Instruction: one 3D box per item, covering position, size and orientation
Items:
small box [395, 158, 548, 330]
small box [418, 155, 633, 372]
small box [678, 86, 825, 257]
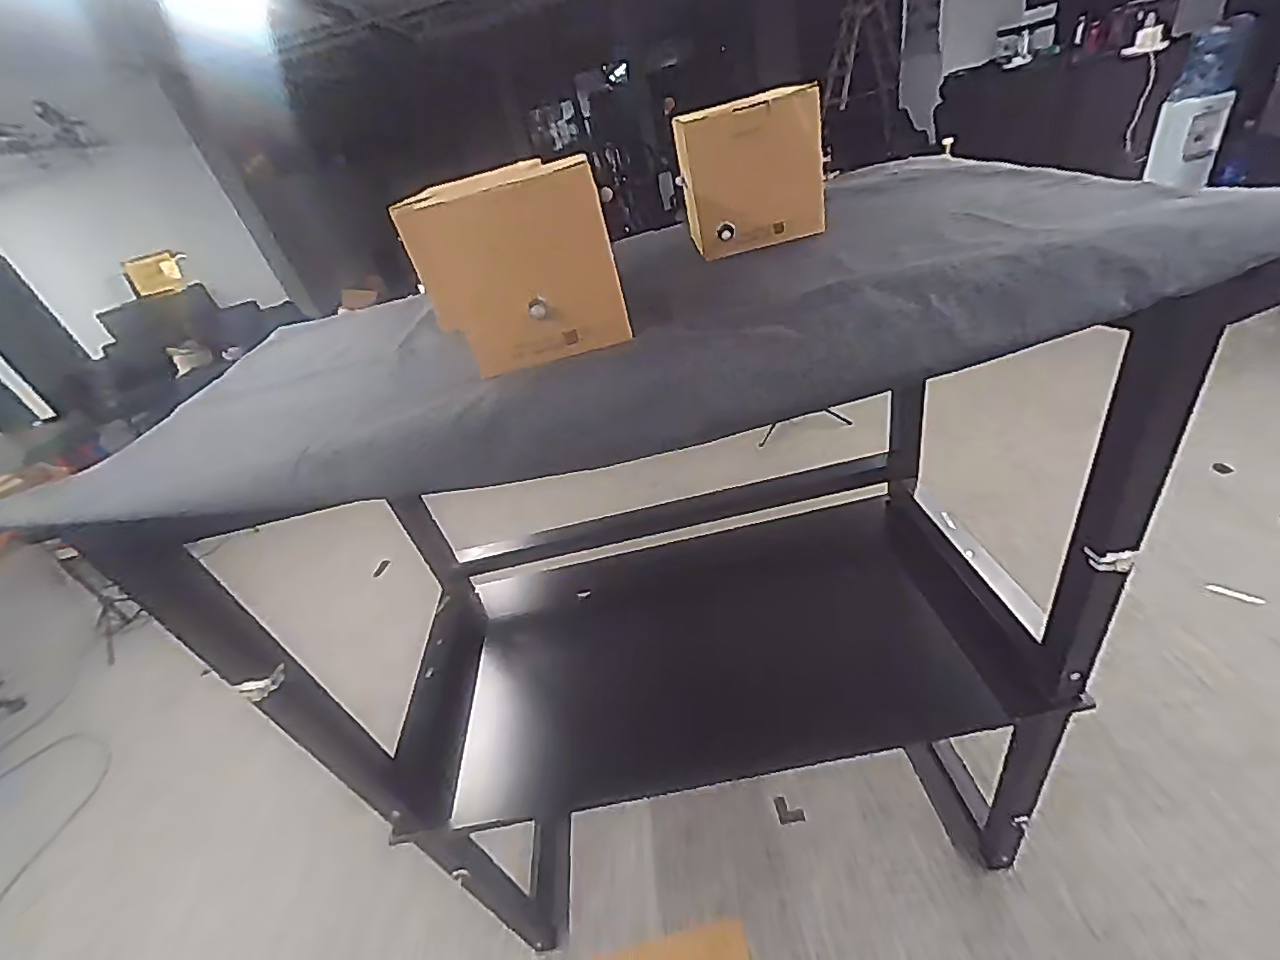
[{"bbox_3d":[-0.202,-0.333,0.768,0.179,0.176,0.168,-10,35,8],"label":"small box"},{"bbox_3d":[-0.109,-0.237,0.590,0.168,0.176,0.179,-14,34,3],"label":"small box"},{"bbox_3d":[0.153,-0.426,0.757,0.168,0.176,0.179,-11,34,6],"label":"small box"}]
